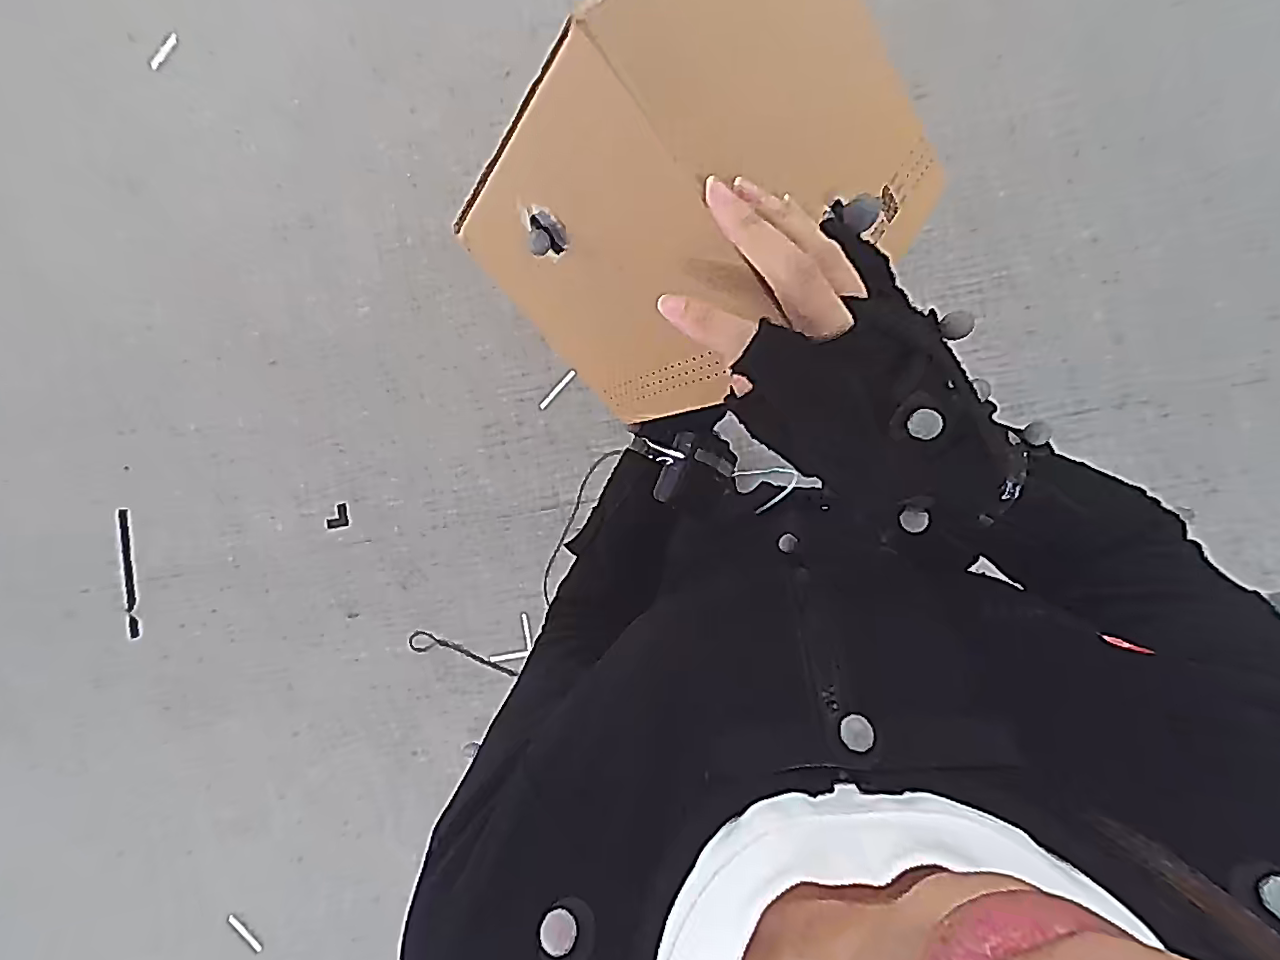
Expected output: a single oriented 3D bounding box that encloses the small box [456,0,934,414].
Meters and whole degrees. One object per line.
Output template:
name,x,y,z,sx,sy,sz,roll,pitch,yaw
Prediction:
small box,0.028,-0.156,0.318,0.176,0.179,0.168,45,67,-22
